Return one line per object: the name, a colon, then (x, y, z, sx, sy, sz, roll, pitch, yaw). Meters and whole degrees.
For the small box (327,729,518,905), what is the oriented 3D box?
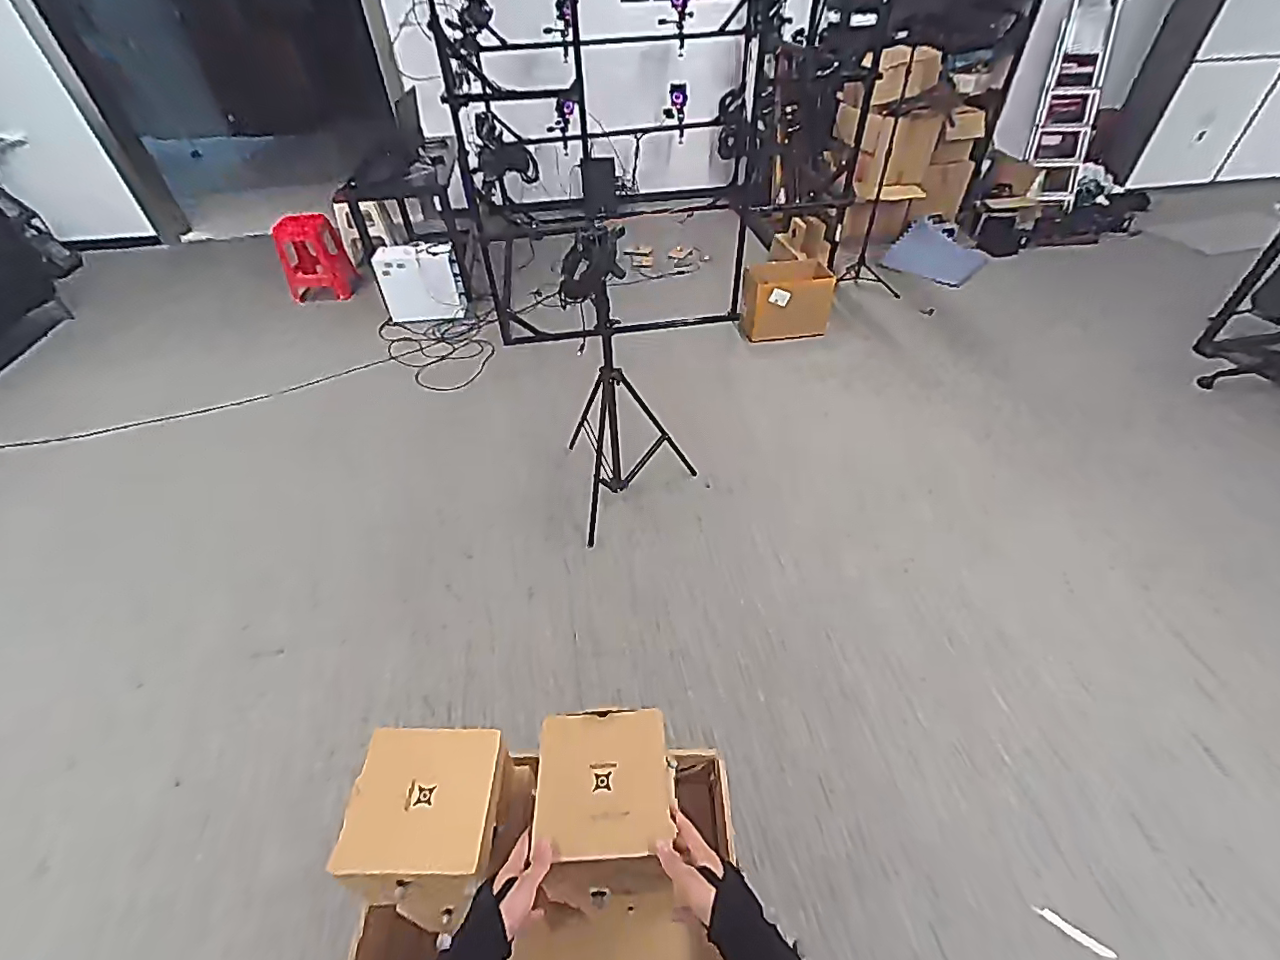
small box: (-0.270, 0.453, 0.727, 0.179, 0.176, 0.168, 0, 43, 1)

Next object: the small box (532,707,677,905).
small box: (-0.040, 0.431, 0.721, 0.168, 0.176, 0.179, -4, 38, 0)
